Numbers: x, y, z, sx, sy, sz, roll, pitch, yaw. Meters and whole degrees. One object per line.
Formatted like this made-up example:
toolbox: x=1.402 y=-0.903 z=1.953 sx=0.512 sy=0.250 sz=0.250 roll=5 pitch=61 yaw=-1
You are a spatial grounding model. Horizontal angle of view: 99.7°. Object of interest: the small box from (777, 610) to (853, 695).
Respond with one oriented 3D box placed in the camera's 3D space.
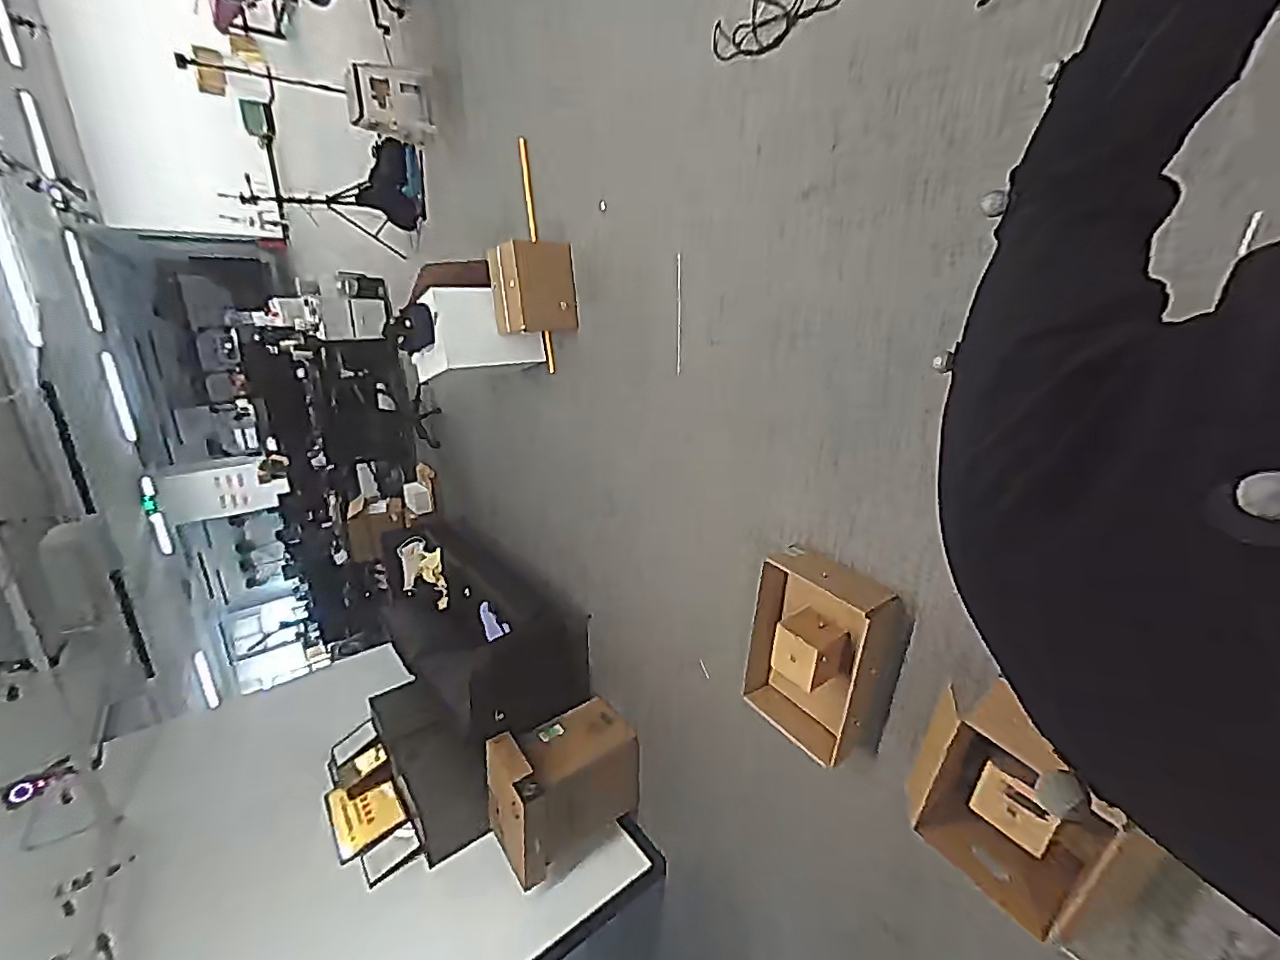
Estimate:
small box: x=0.580 y=0.565 z=1.791 sx=0.168 sy=0.176 sz=0.179 roll=29 pitch=124 yaw=48
